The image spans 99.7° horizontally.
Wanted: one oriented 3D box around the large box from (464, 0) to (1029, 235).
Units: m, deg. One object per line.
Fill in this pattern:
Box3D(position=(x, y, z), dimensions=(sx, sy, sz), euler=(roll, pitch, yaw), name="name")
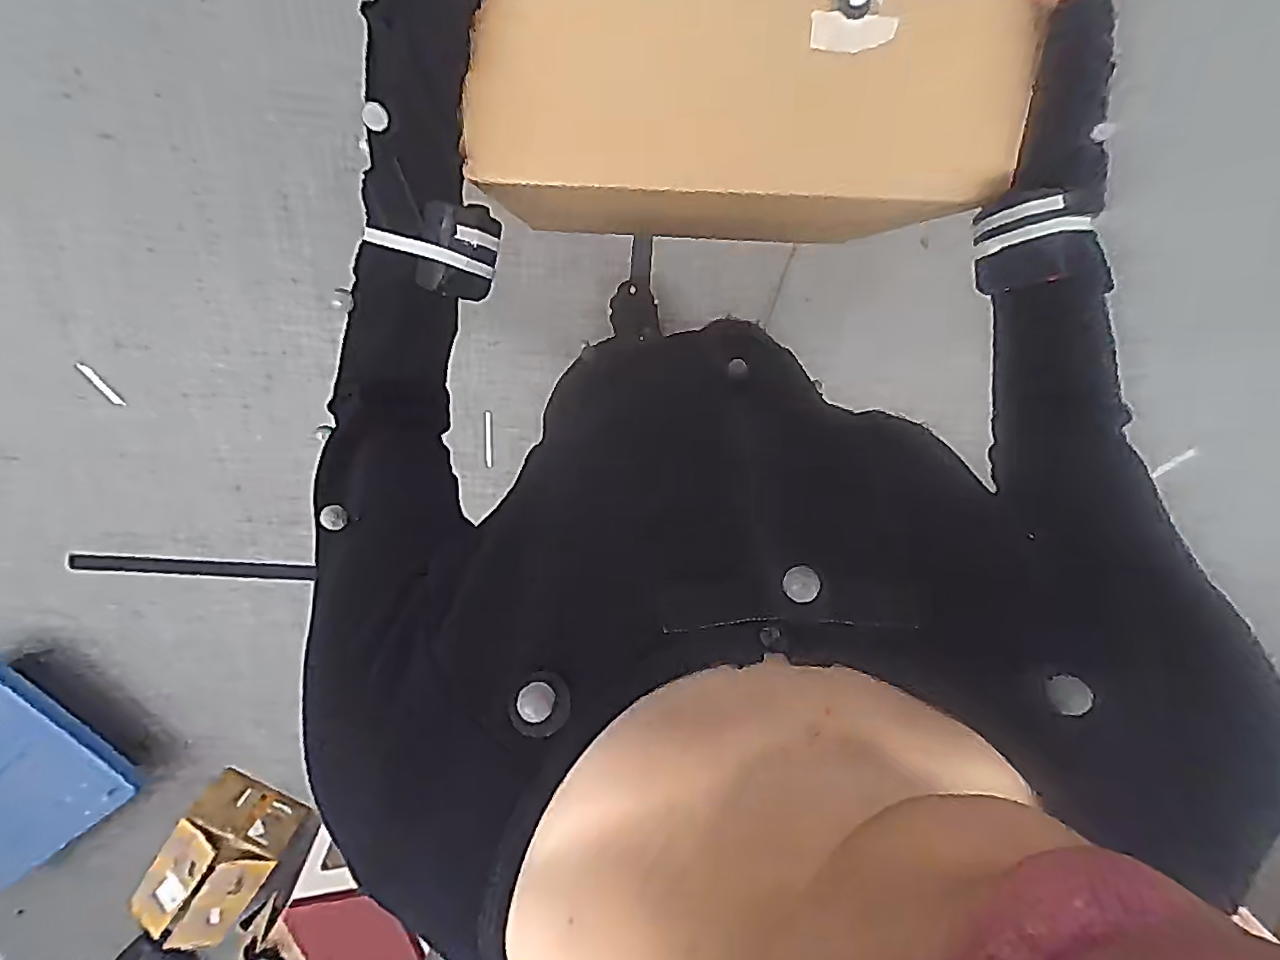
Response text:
Box3D(position=(0.070, -0.418, 0.506), dimensions=(0.408, 0.320, 0.320), euler=(1, 108, -3), name="large box")
